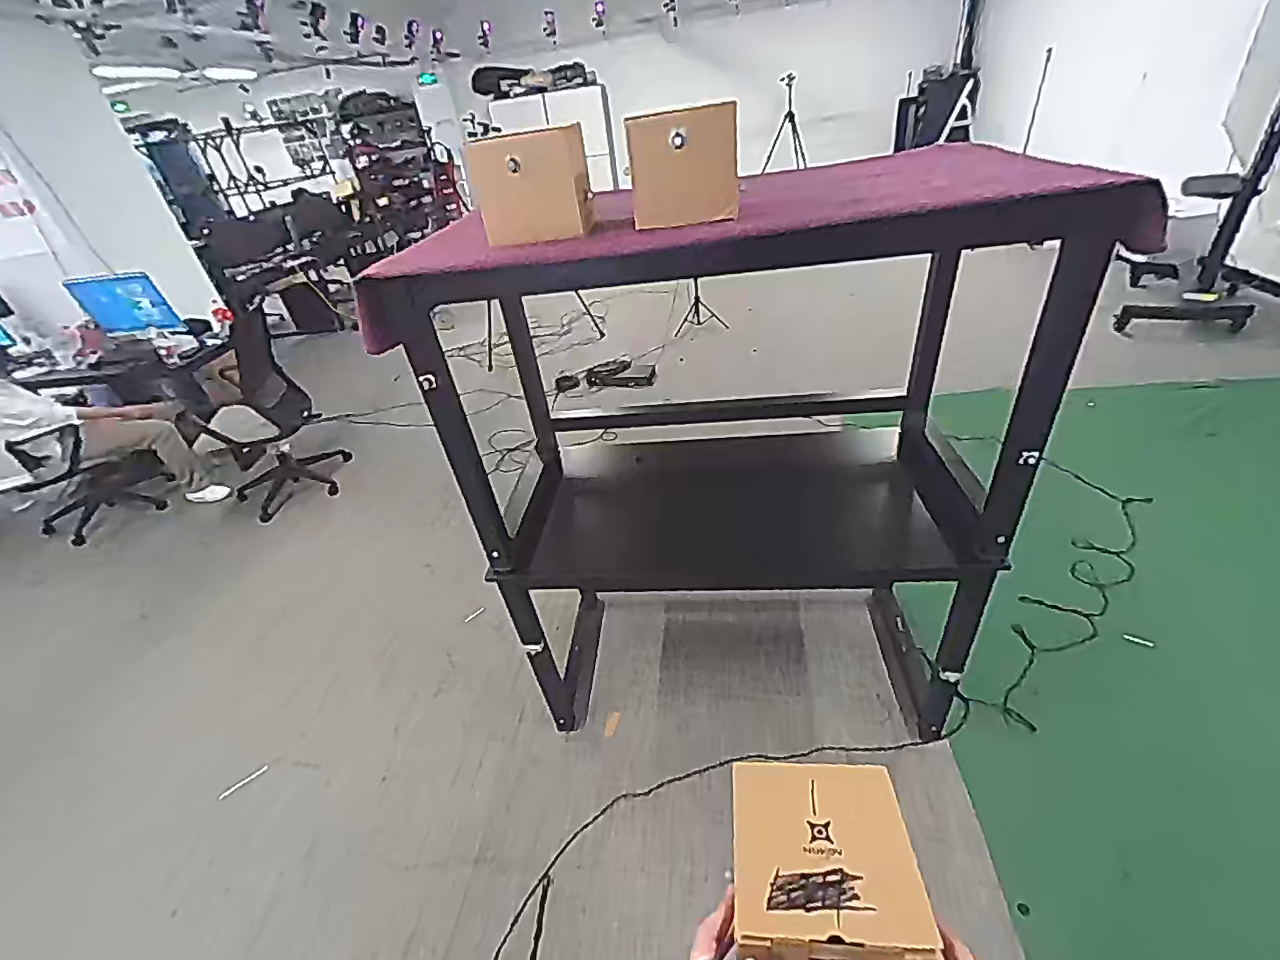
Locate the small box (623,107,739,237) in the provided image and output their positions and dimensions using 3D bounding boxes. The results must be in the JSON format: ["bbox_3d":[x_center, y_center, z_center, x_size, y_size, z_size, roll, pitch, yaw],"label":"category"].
[{"bbox_3d":[0.078,-0.529,0.932,0.179,0.176,0.168,-3,35,9],"label":"small box"}]

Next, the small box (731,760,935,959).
[{"bbox_3d":[0.184,0.420,0.550,0.168,0.176,0.179,-5,22,11],"label":"small box"}]

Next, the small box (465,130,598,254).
[{"bbox_3d":[-0.186,-0.521,0.982,0.179,0.176,0.168,-4,36,8],"label":"small box"}]
